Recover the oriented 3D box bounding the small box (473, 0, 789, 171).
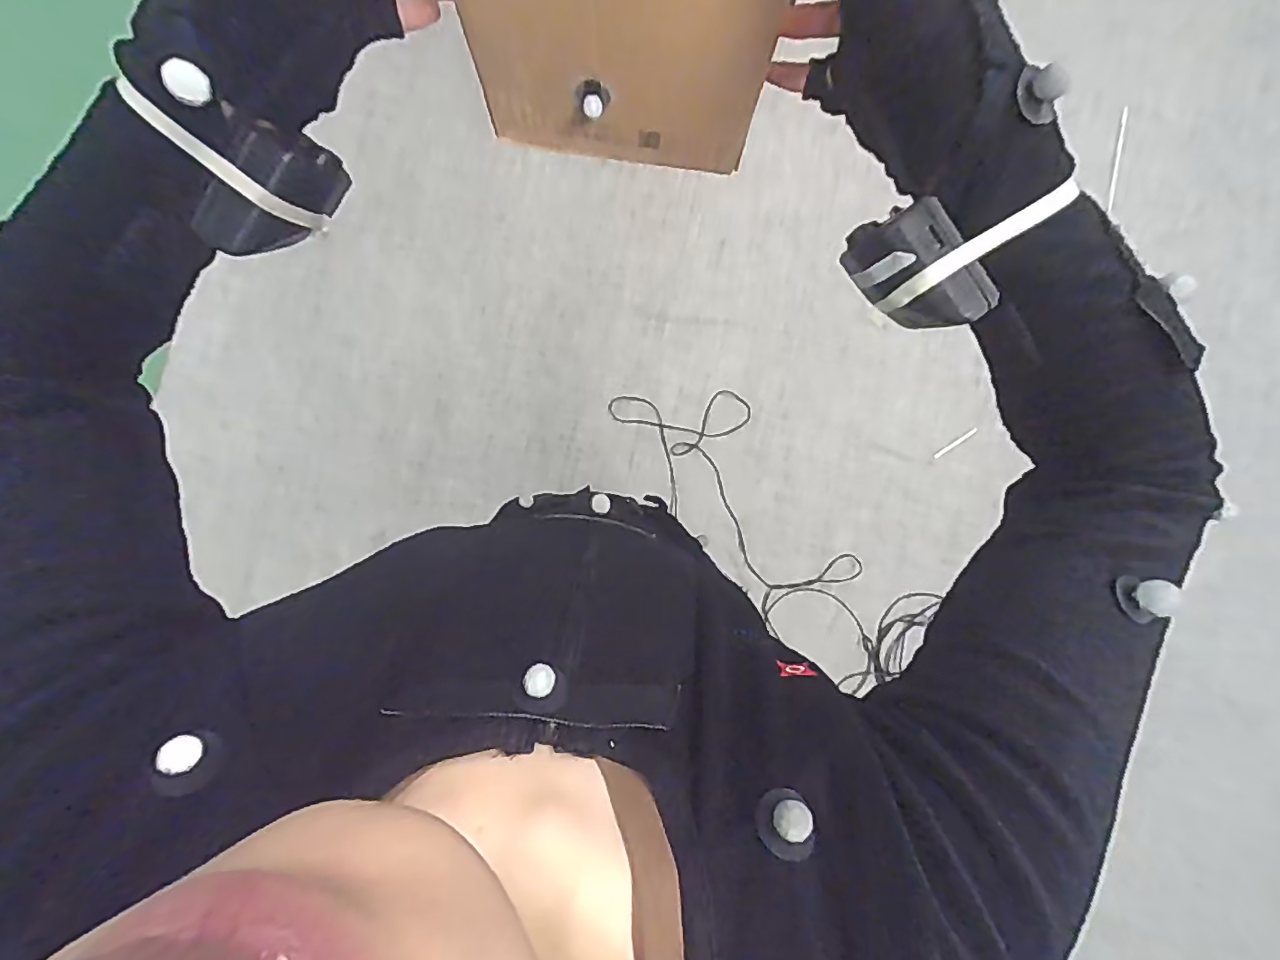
[{"bbox_3d":[-0.002,-0.316,0.301,0.168,0.176,0.179,7,86,-1],"label":"small box"}]
